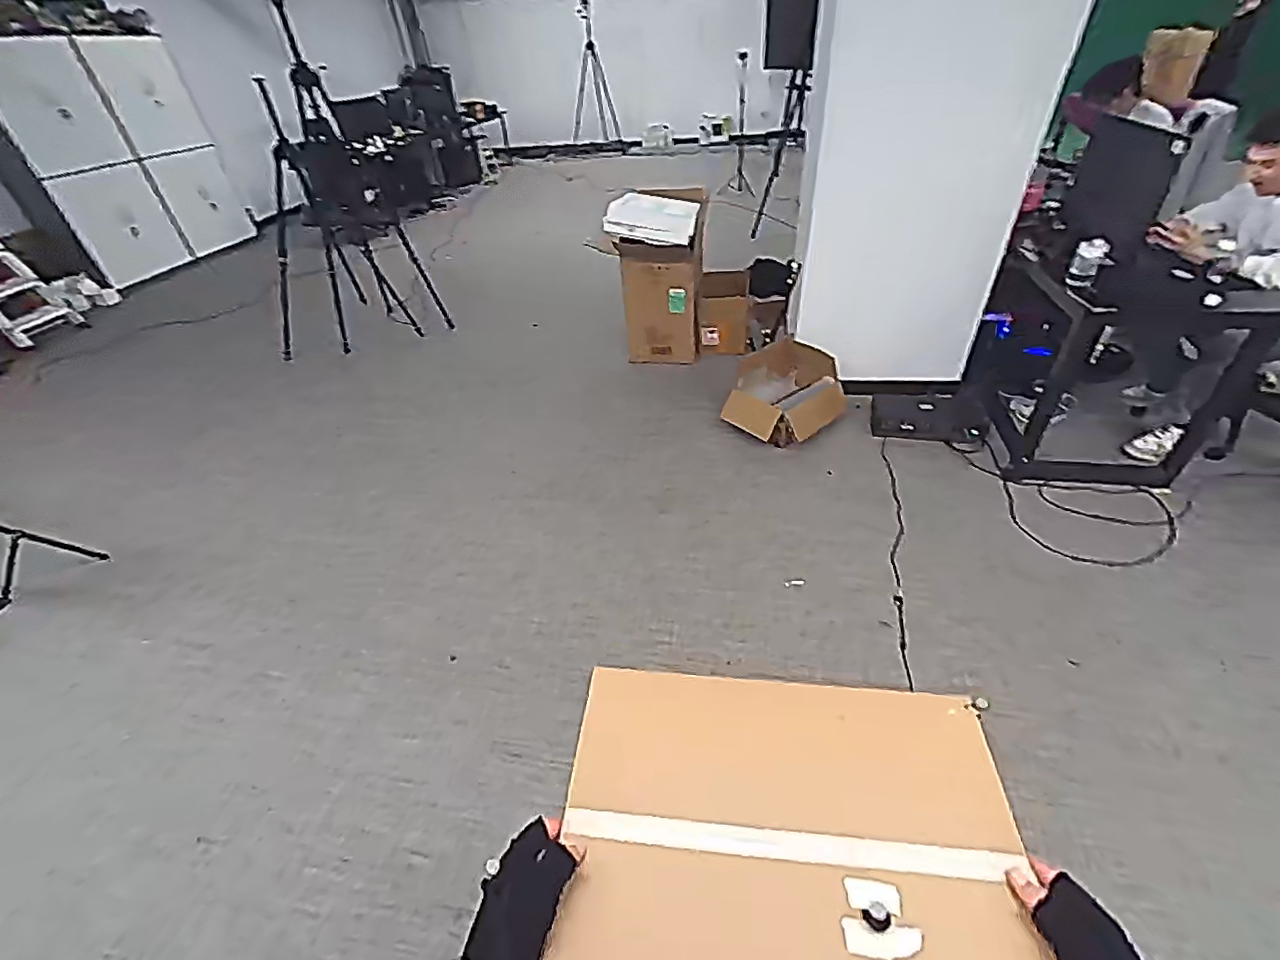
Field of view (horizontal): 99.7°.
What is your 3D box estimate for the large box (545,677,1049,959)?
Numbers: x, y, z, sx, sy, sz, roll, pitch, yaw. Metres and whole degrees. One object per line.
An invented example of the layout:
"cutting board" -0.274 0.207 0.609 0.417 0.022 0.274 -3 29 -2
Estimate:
"large box" 0.133 0.443 0.582 0.408 0.320 0.320 2 41 6
